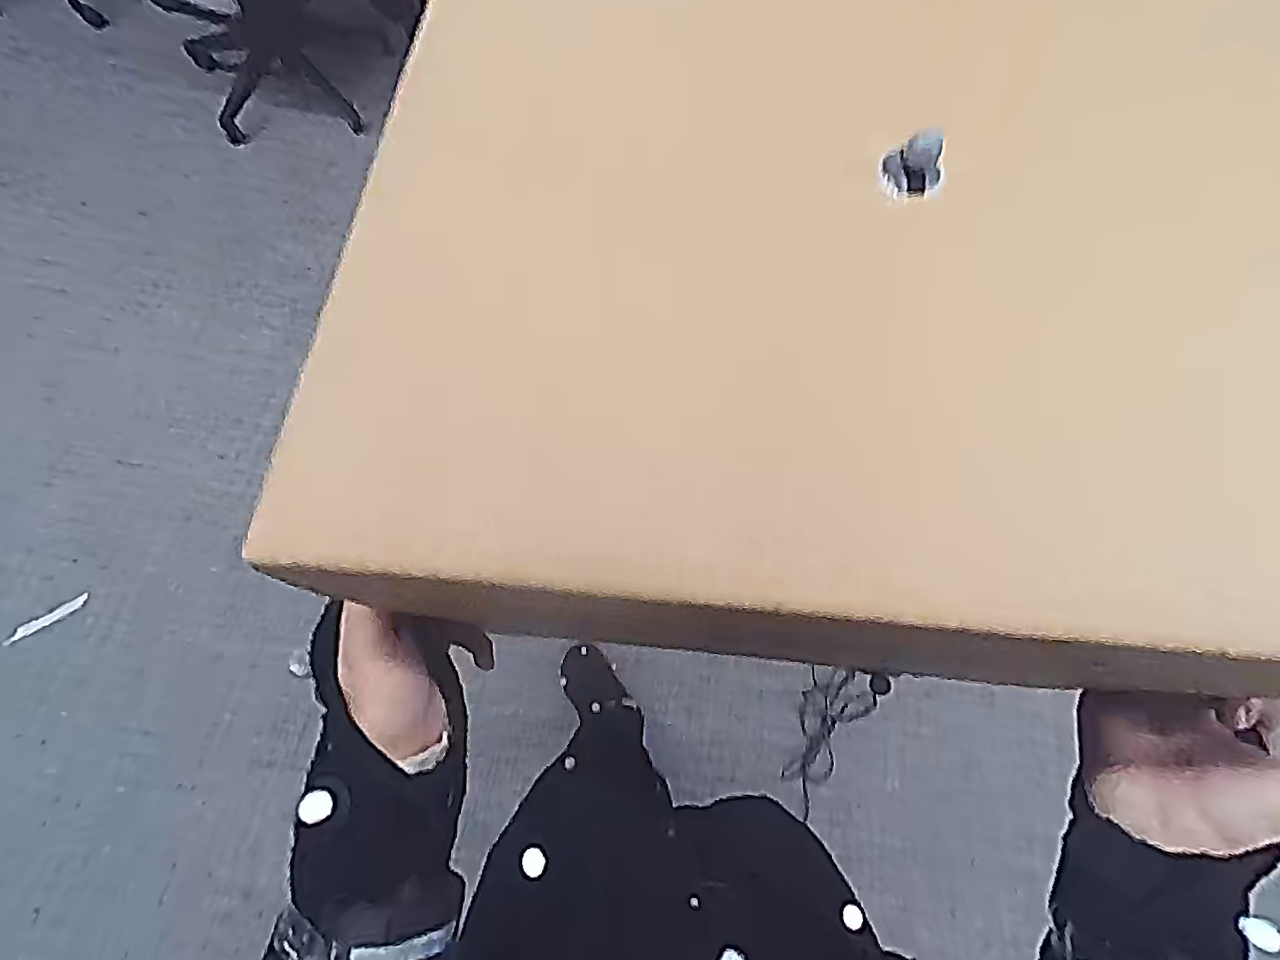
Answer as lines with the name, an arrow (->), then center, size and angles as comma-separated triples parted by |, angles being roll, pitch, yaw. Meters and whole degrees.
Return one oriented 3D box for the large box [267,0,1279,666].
large box -> 0.092, -0.065, 0.345 | 0.408, 0.320, 0.320 | 4, 72, 2
